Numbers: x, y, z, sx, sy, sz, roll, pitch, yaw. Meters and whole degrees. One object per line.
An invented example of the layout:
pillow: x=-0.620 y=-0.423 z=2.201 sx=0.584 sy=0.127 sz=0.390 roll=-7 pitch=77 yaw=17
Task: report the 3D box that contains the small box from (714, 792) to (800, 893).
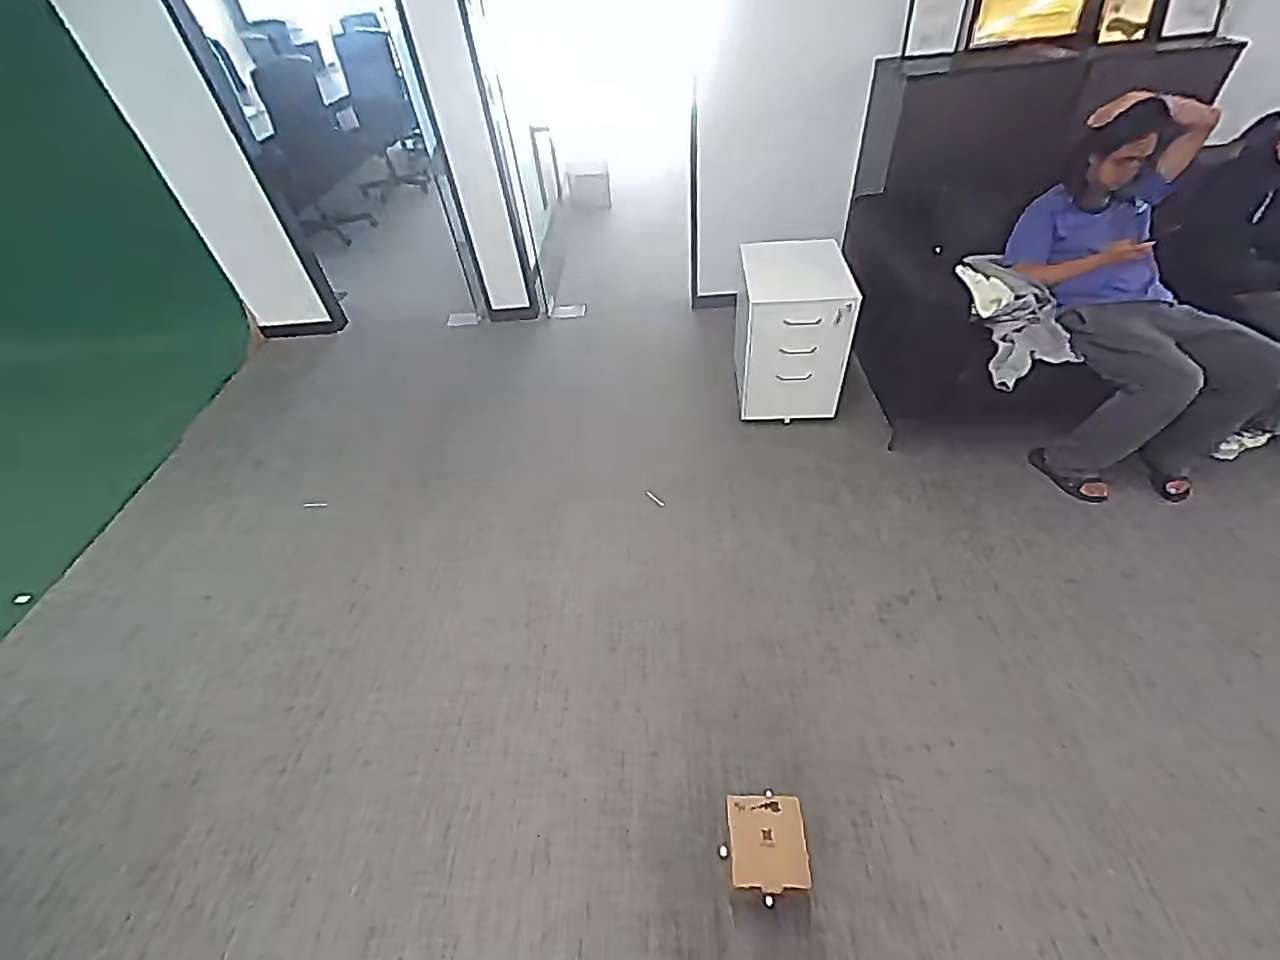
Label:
small box: x=0.266 y=0.852 z=1.267 sx=0.168 sy=0.176 sz=0.179 roll=-3 pitch=45 yaw=2
